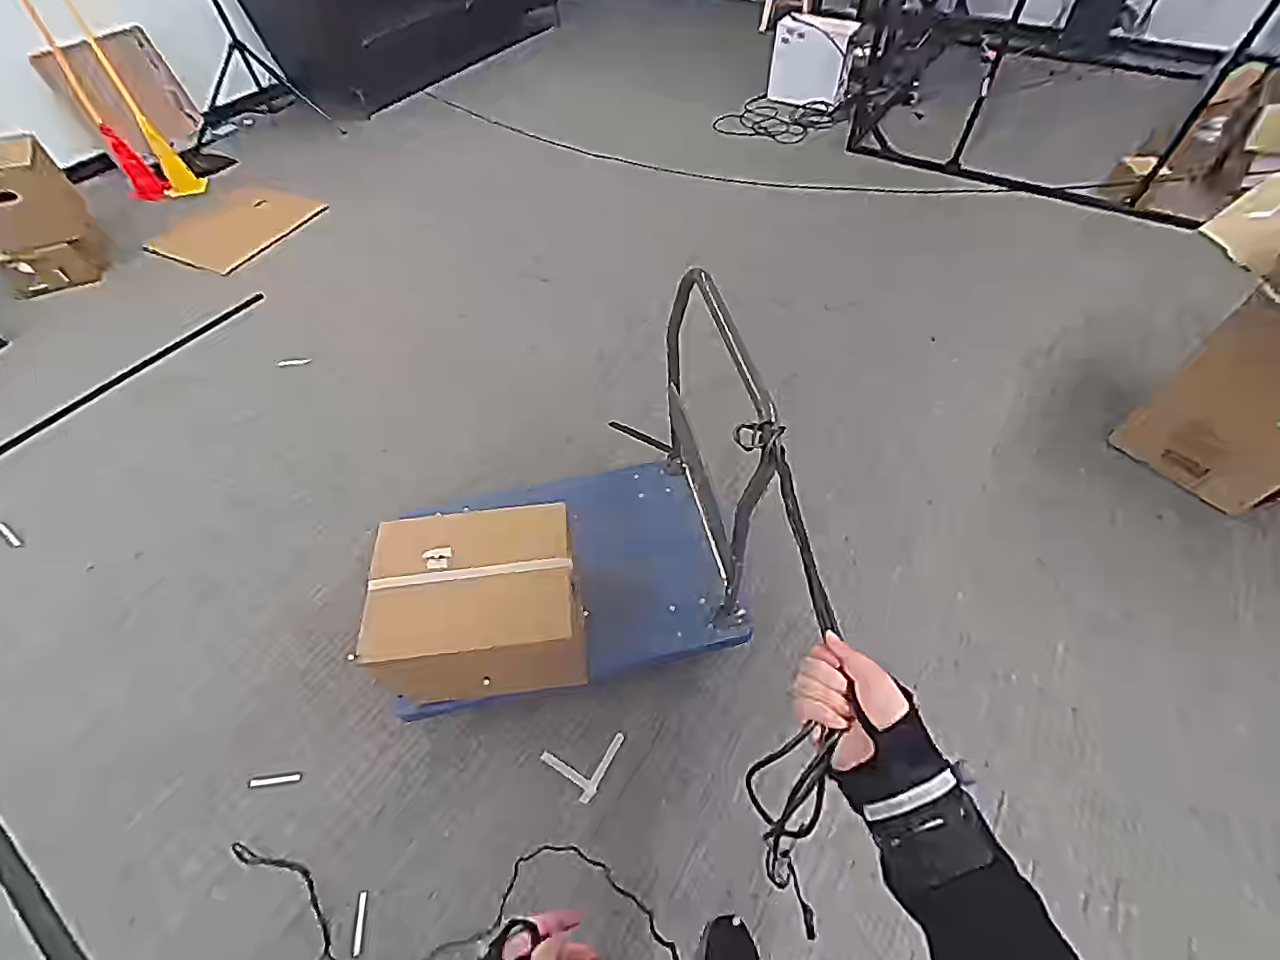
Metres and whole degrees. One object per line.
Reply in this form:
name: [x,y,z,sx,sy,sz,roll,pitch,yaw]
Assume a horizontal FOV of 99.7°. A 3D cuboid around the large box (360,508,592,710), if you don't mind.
large box: [-0.333,0.295,1.207,0.408,0.320,0.320,-7,53,-3]
